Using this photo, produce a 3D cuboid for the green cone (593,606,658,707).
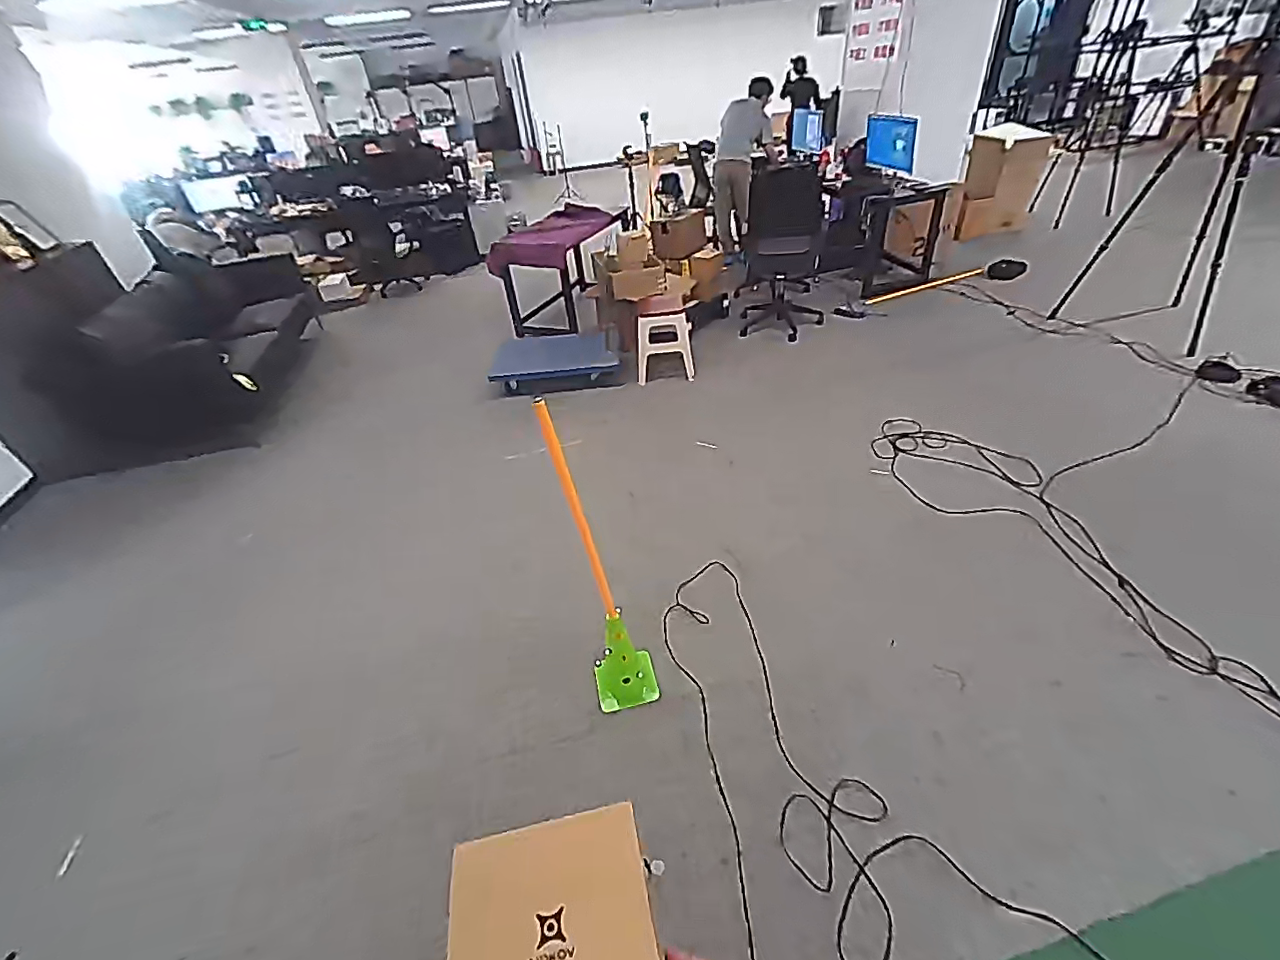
[{"bbox_3d":[-0.066,0.547,1.766,0.202,0.368,0.200,-11,38,-7],"label":"green cone"}]
